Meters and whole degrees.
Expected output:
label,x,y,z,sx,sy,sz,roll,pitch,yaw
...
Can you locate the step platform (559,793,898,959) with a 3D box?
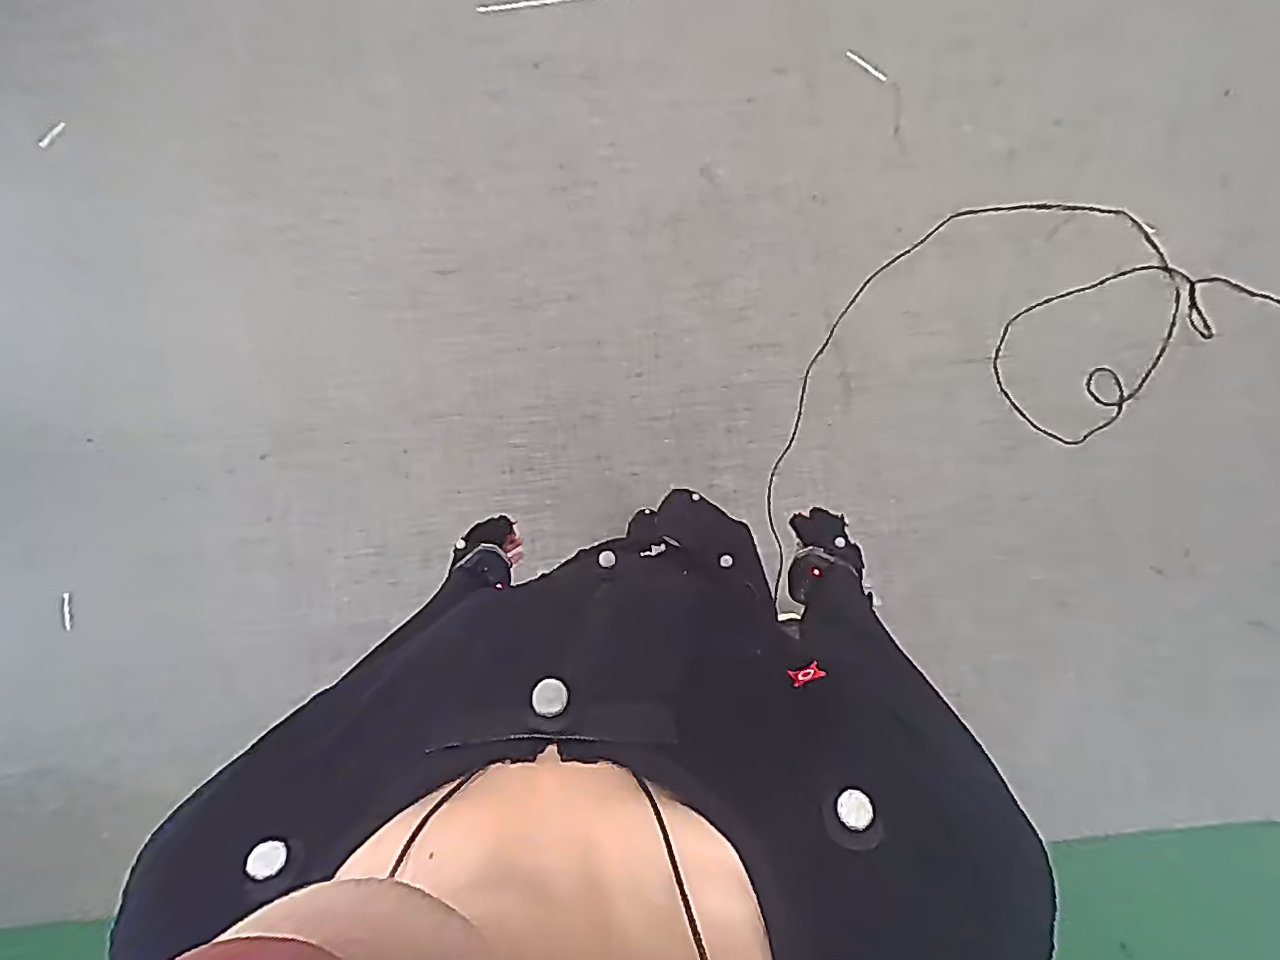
label,x,y,z,sx,sy,sz,roll,pitch,yaw
step platform,0.177,0.897,1.181,0.684,0.204,0.286,-6,87,0
